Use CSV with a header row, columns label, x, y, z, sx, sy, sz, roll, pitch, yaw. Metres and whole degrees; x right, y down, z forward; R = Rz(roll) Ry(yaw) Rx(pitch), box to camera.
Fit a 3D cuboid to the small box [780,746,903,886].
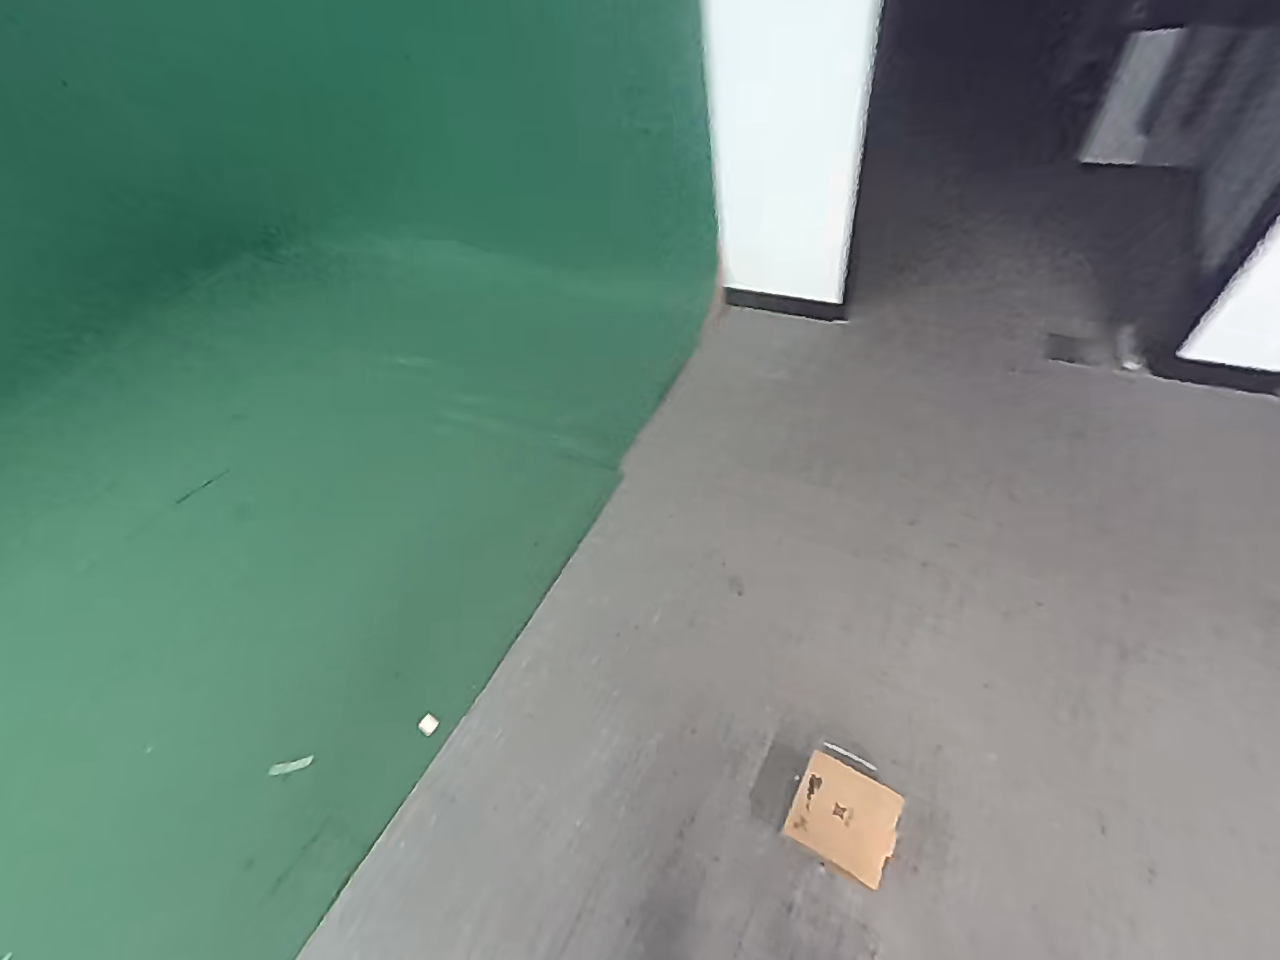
label,x,y,z,sx,sy,sz,roll,pitch,yaw
small box,0.394,0.666,1.077,0.179,0.176,0.168,22,61,26
